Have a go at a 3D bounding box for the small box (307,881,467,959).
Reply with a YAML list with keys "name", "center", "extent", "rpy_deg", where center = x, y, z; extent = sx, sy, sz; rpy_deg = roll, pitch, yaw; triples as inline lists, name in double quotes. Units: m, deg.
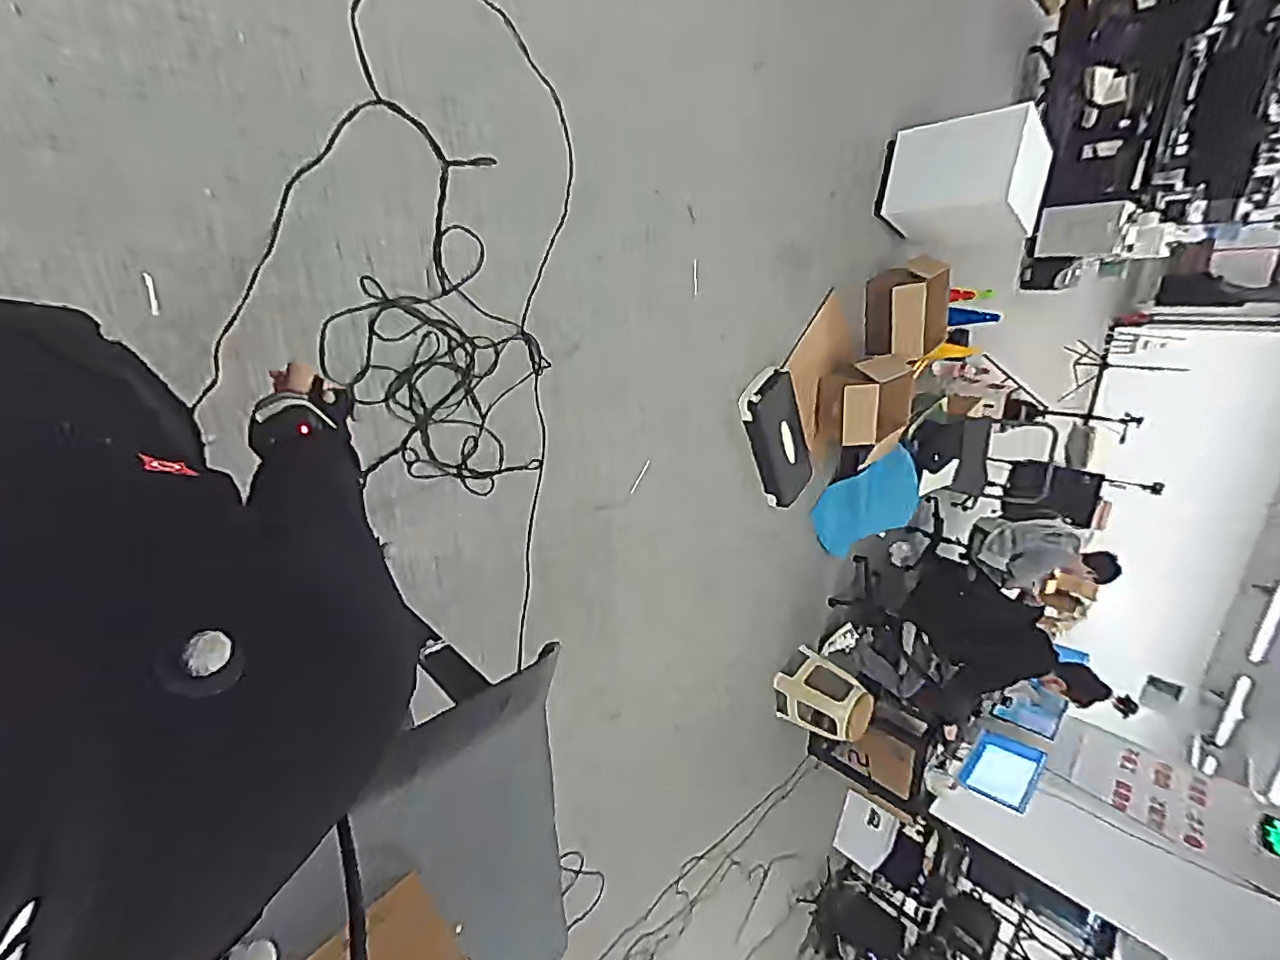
- name: "small box"
  center: [-0.325, 0.693, 0.724]
  extent: [0.168, 0.176, 0.179]
  rpy_deg: [-26, 122, -36]
